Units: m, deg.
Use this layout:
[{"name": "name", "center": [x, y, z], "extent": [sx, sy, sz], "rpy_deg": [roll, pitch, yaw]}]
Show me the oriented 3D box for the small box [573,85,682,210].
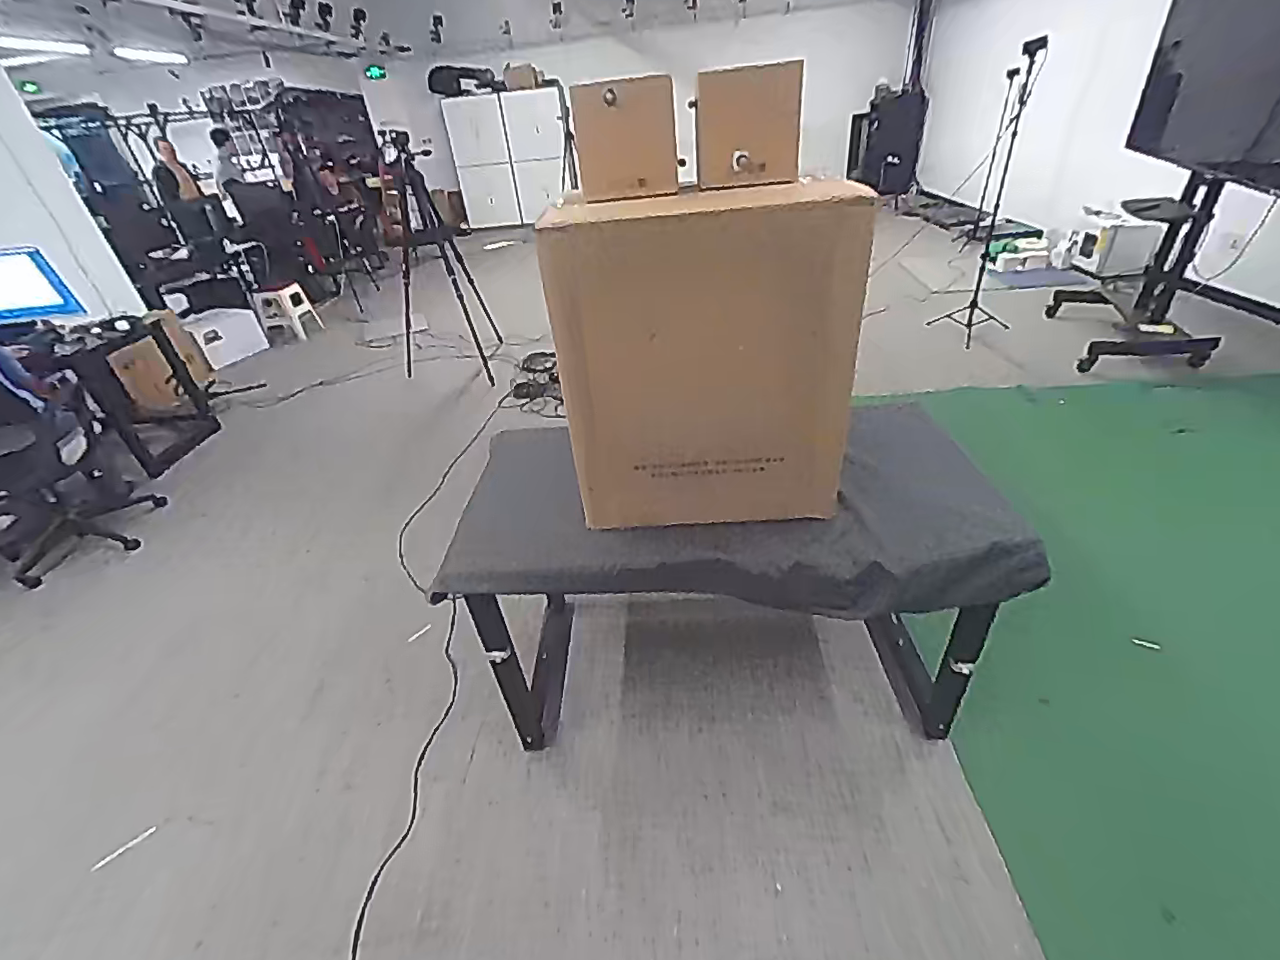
[{"name": "small box", "center": [-0.015, -0.588, 0.968], "extent": [0.168, 0.176, 0.179], "rpy_deg": [-4, 32, 6]}]
